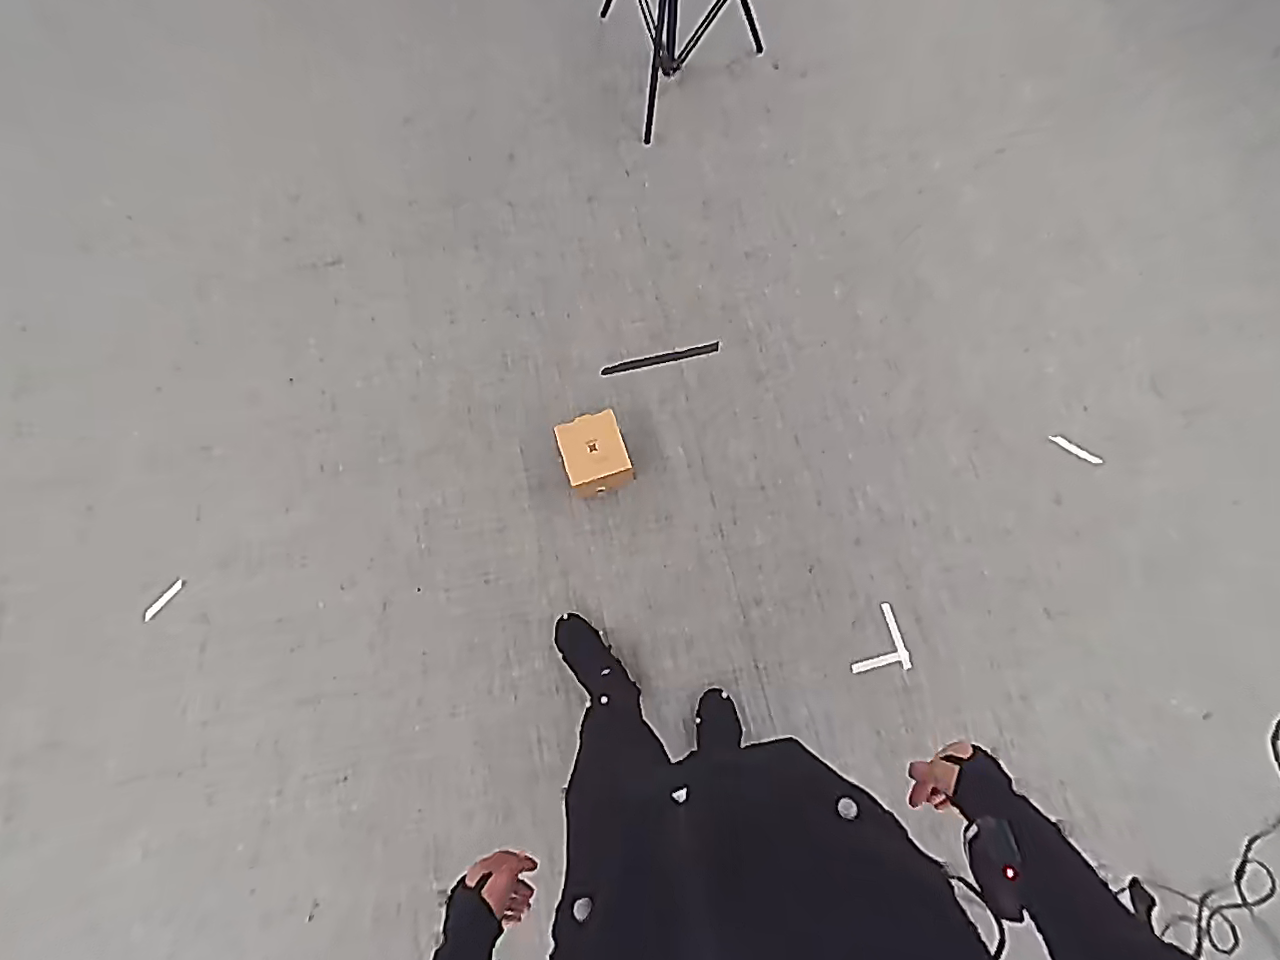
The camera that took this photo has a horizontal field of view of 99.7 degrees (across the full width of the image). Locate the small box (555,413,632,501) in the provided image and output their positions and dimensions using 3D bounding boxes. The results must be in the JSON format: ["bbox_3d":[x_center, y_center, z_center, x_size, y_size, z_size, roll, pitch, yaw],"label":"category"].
[{"bbox_3d":[-0.125,-0.059,1.496,0.168,0.176,0.179,-18,76,-4],"label":"small box"}]
